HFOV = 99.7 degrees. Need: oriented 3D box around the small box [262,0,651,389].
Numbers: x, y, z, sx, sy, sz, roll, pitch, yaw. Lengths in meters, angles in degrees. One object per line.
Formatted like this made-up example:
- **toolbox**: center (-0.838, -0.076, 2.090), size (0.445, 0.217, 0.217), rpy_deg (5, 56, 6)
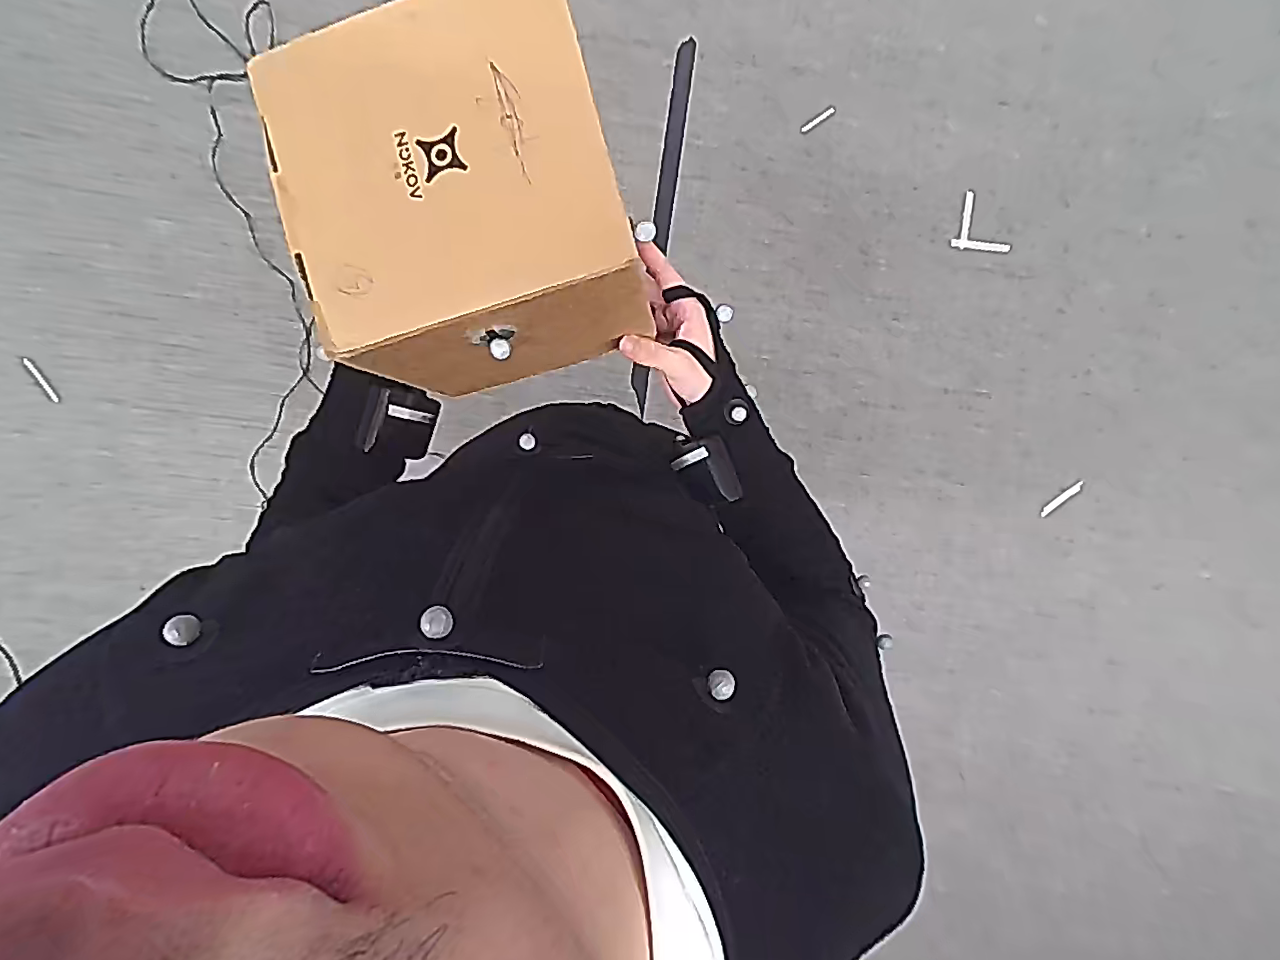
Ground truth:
- **small box**: center (-0.099, -0.170, 0.370), size (0.179, 0.176, 0.168), rpy_deg (-16, 90, 5)
